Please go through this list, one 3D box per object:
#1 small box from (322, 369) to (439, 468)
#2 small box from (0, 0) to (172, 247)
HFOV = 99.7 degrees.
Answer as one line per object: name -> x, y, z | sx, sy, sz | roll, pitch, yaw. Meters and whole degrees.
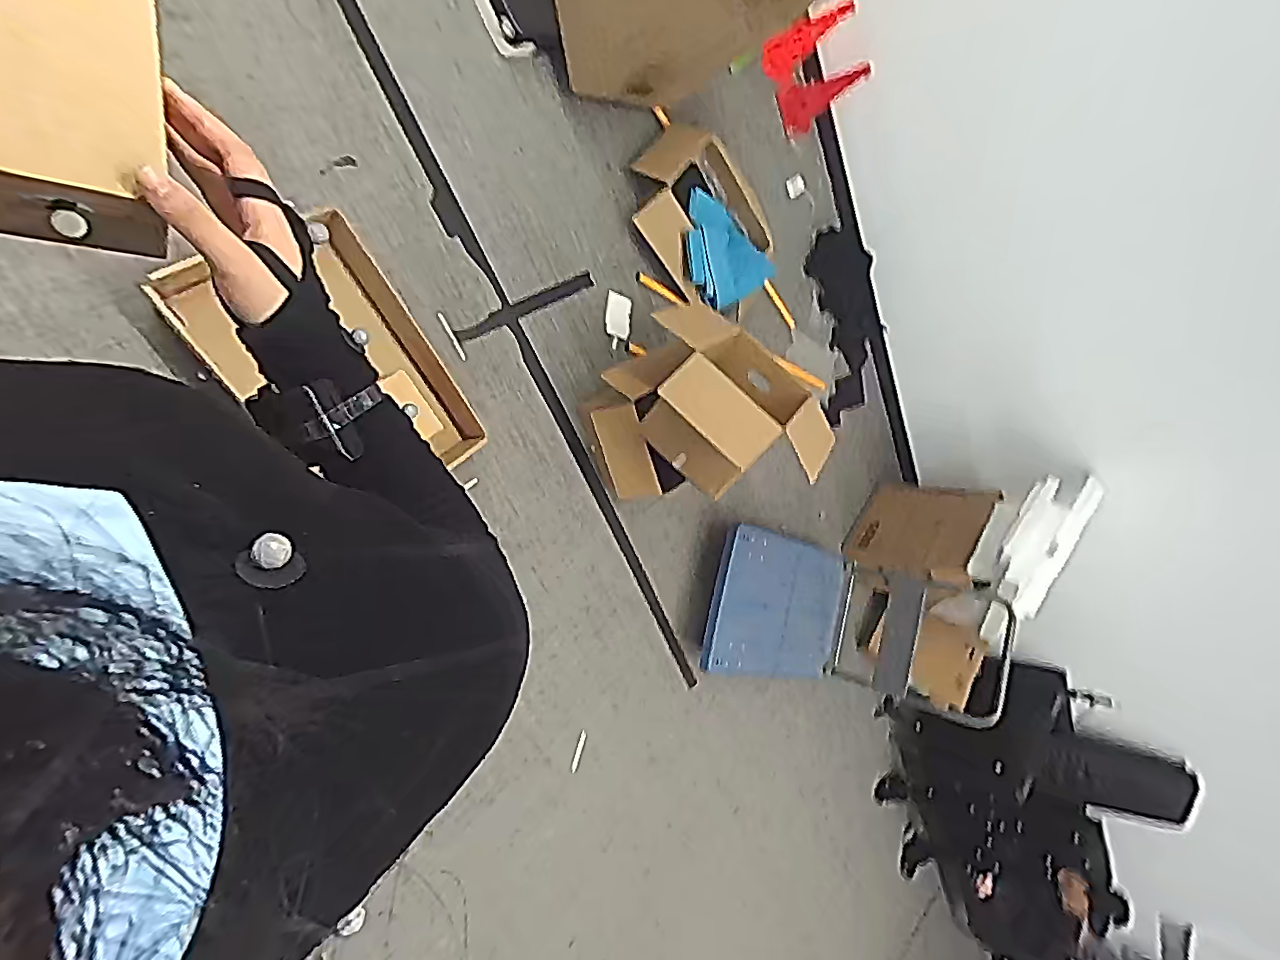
small box -> -0.624, -0.147, 1.295 | 0.179, 0.176, 0.168 | -42, 117, -29
small box -> -0.382, -0.240, 0.297 | 0.179, 0.176, 0.168 | -5, 100, -41
